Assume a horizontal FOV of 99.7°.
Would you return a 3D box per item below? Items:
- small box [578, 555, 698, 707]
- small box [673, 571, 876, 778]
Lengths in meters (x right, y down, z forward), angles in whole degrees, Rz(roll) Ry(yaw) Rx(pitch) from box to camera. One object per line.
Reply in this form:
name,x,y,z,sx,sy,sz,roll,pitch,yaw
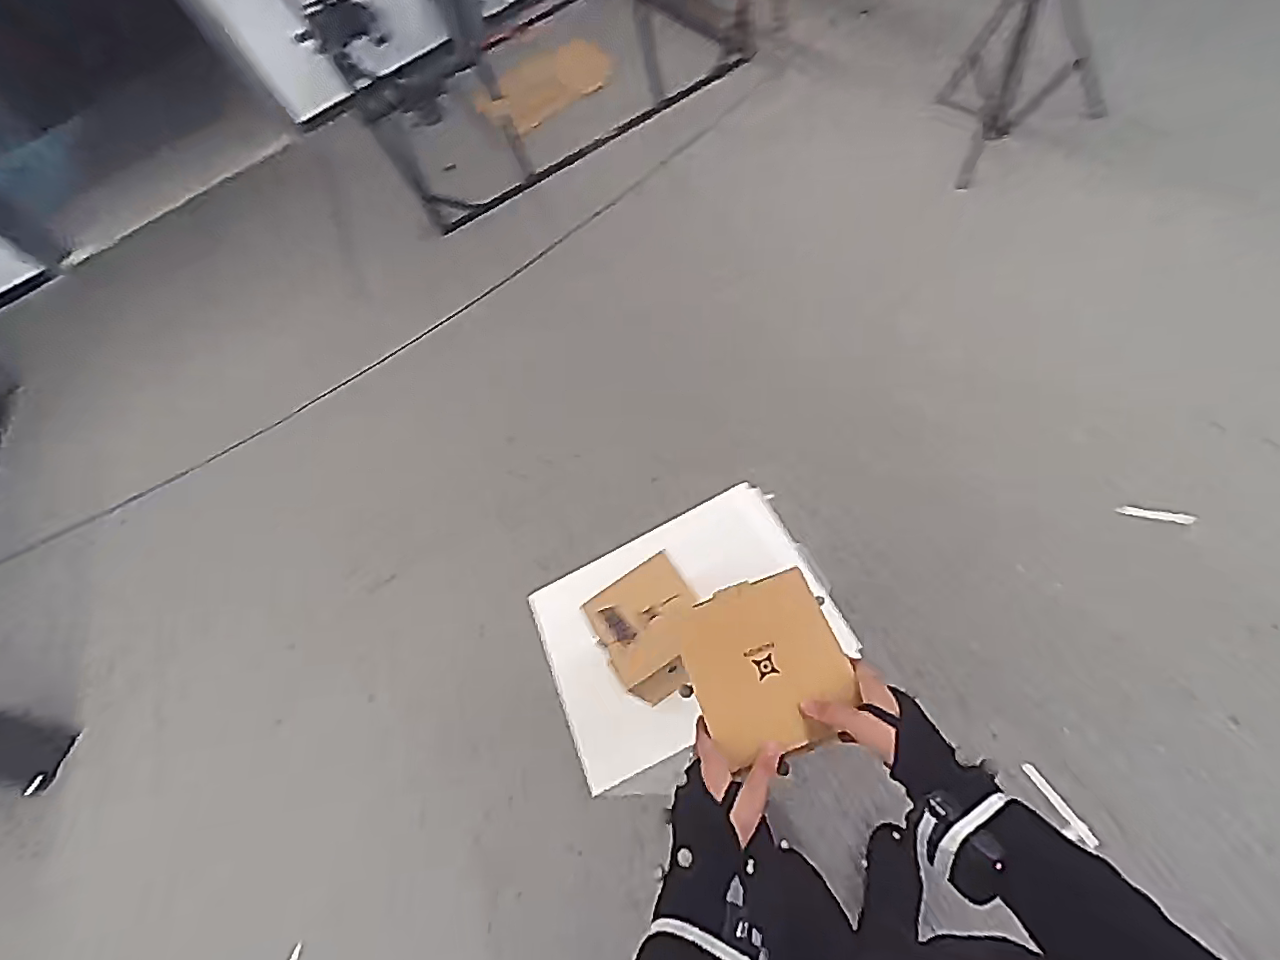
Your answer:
small box,0.026,0.268,0.937,0.179,0.176,0.168,-34,57,-5
small box,0.154,0.241,0.649,0.168,0.176,0.179,-20,55,0
